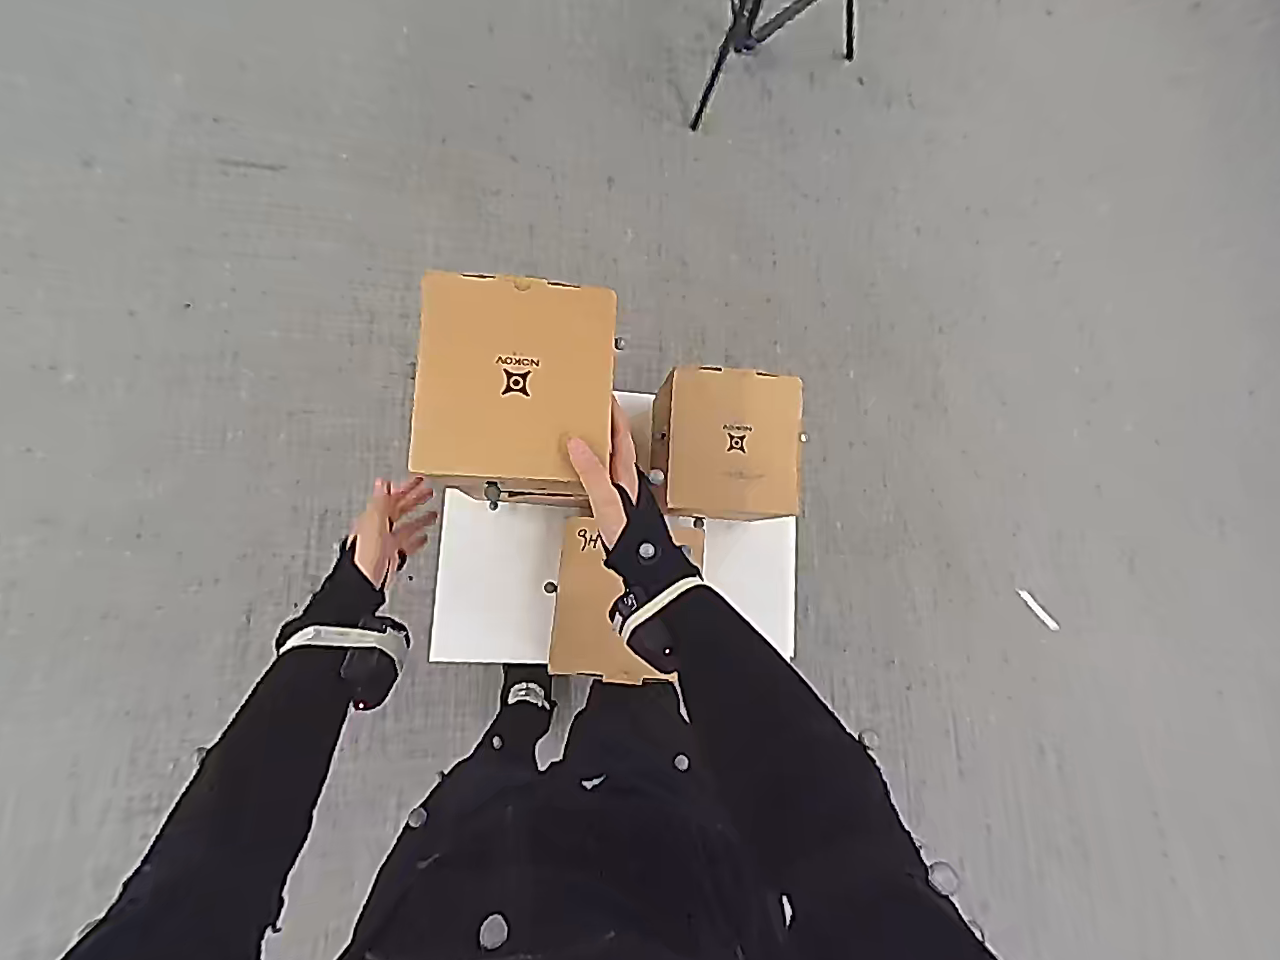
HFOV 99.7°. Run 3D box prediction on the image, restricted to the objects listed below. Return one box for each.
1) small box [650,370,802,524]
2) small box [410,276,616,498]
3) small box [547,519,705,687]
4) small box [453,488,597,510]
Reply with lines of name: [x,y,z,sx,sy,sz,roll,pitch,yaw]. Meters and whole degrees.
small box: [0.107,-0.034,0.734,0.168,0.176,0.179,3,84,-6]
small box: [-0.116,-0.075,0.538,0.168,0.176,0.179,3,83,-9]
small box: [-0.023,0.148,0.687,0.168,0.176,0.179,6,81,-8]
small box: [-0.133,-0.057,0.699,0.168,0.176,0.179,5,81,-8]
